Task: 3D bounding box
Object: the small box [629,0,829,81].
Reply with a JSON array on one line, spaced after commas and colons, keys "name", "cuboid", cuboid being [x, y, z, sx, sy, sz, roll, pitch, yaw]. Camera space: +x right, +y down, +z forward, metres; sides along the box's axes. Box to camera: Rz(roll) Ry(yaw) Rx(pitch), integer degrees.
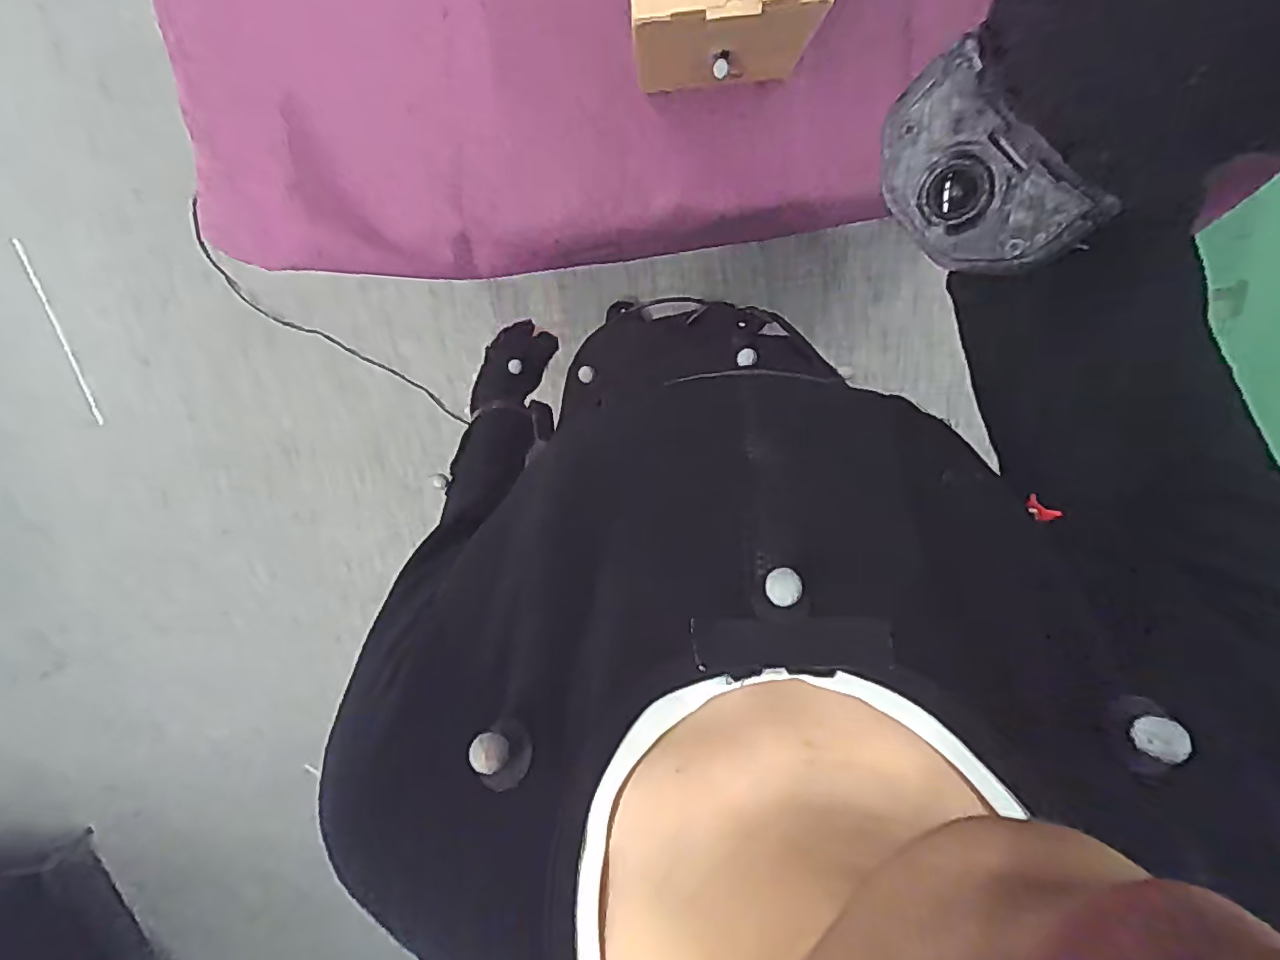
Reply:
[{"name": "small box", "cuboid": [0.070, -0.484, 0.480, 0.168, 0.176, 0.179, -4, 109, 3]}]
